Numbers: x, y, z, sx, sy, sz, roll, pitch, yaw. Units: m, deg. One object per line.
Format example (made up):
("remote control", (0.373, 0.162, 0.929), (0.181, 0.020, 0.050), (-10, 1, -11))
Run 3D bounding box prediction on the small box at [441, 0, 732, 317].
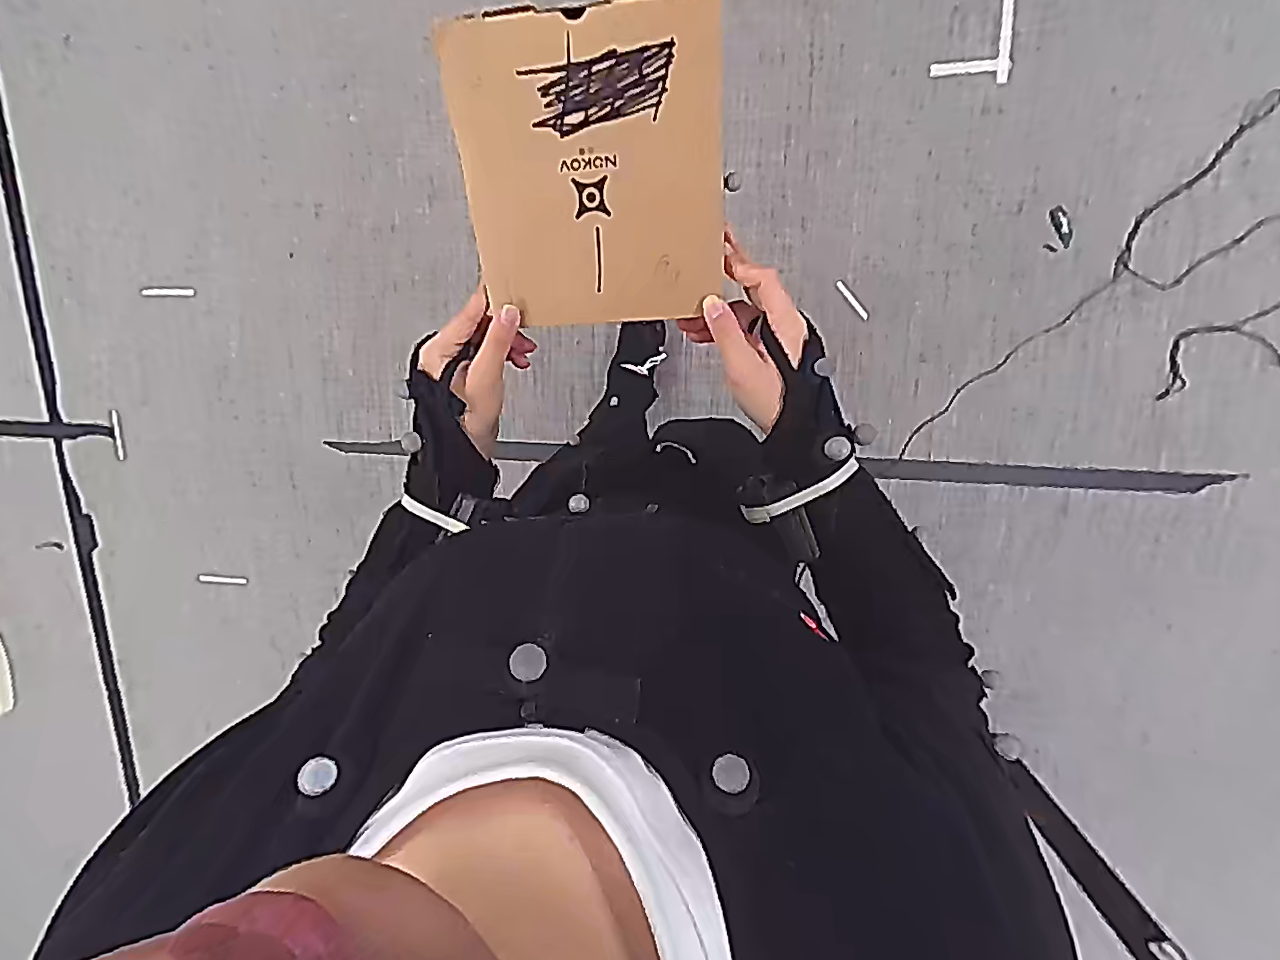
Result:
("small box", (-0.020, -0.230, 0.404), (0.168, 0.176, 0.179), (-1, 118, 7))
